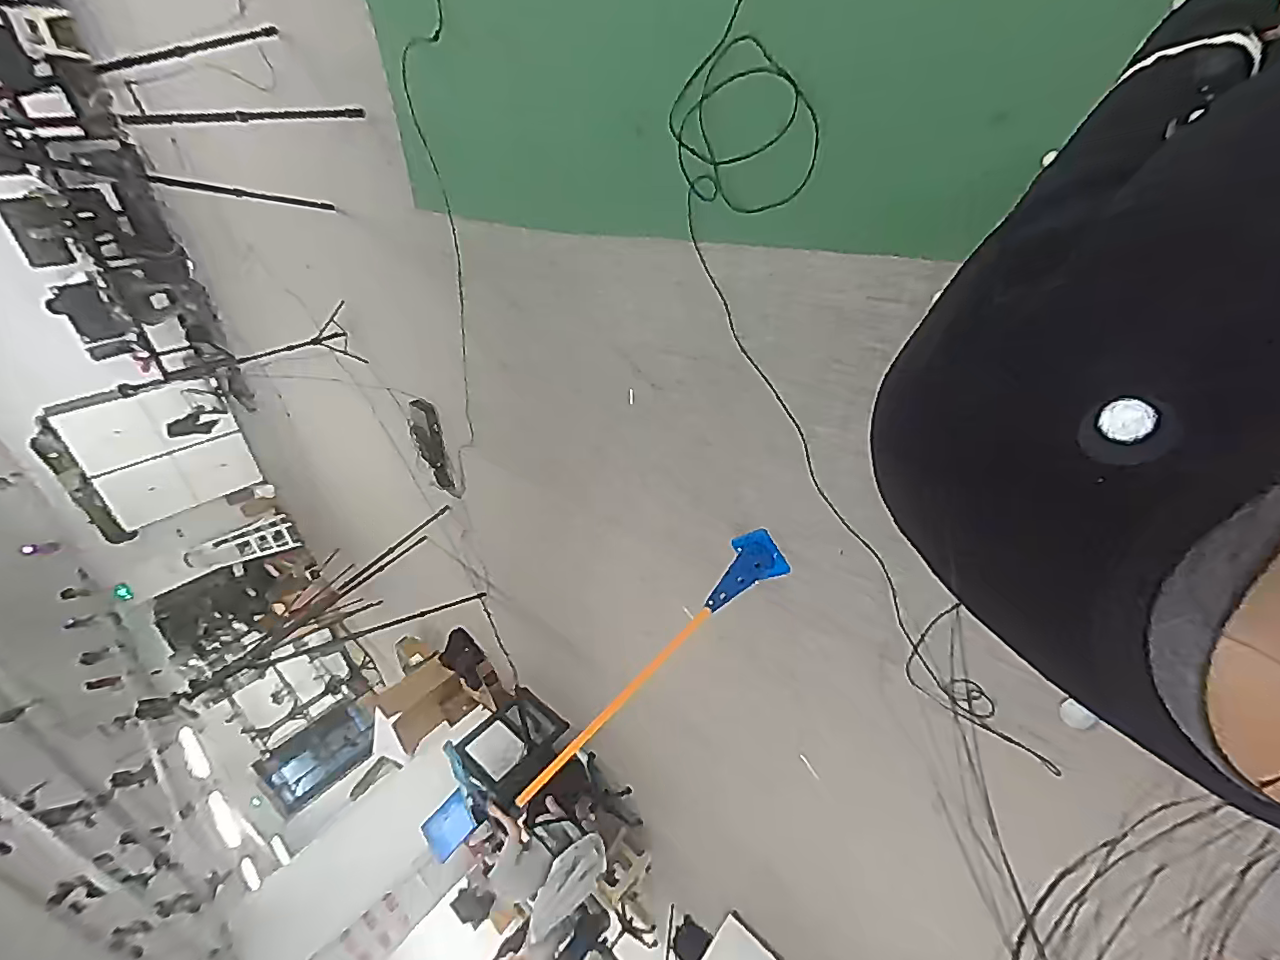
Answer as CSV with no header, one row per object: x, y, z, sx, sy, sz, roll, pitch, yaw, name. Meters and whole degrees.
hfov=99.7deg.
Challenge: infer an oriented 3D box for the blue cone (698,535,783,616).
0.348,0.390,2.022,0.192,0.380,0.193,55,144,0,blue cone
